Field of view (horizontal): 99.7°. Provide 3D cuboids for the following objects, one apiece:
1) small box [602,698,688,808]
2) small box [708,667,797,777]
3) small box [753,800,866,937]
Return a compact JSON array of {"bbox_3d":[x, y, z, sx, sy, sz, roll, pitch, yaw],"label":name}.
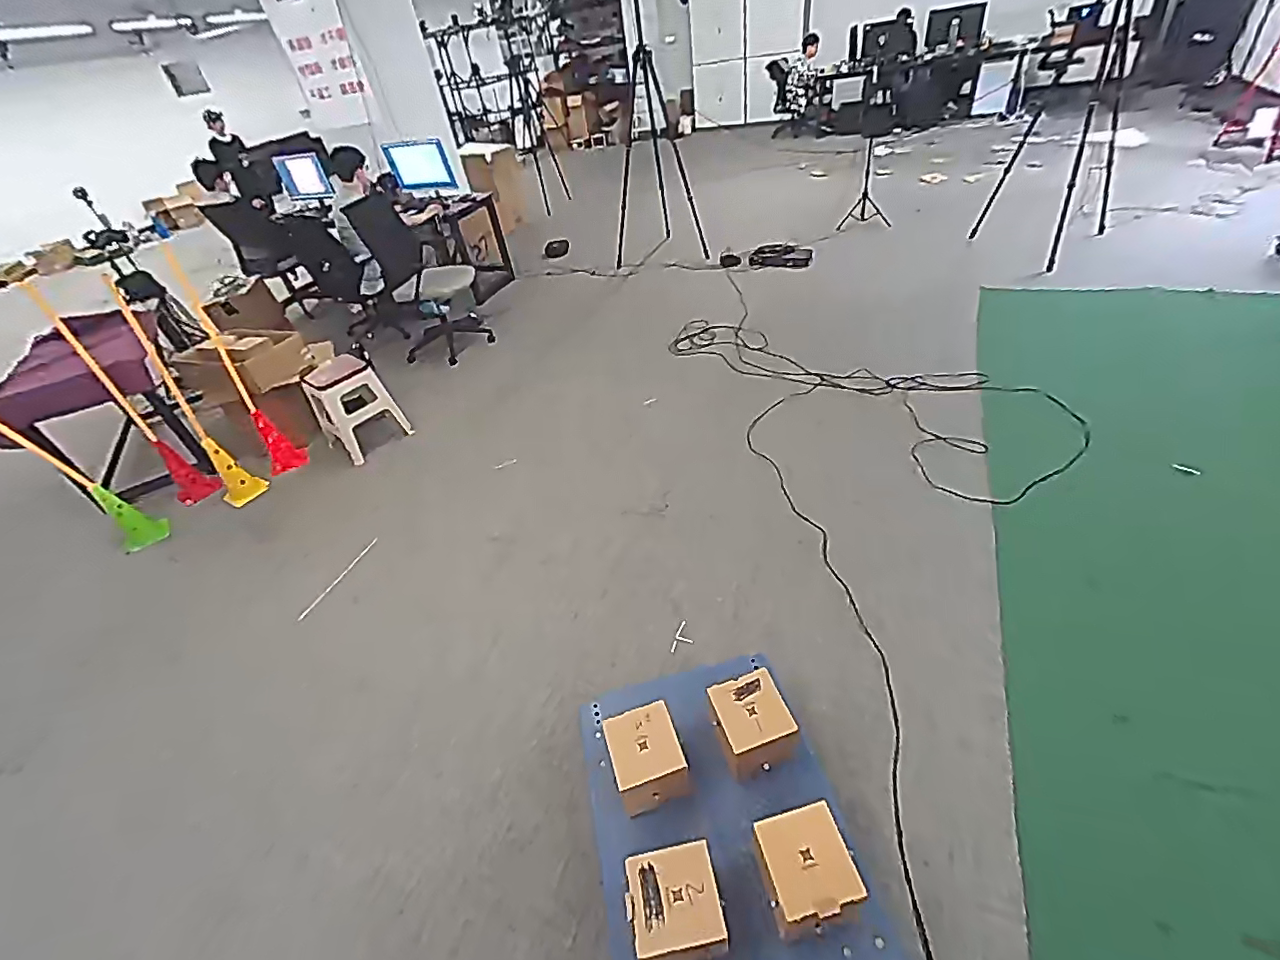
[{"bbox_3d":[0.014,0.684,1.343,0.168,0.176,0.179,-16,41,-8],"label":"small box"},{"bbox_3d":[0.280,0.614,1.372,0.168,0.176,0.179,-17,42,-8],"label":"small box"},{"bbox_3d":[0.342,0.813,1.133,0.168,0.176,0.179,-14,41,-5],"label":"small box"}]
